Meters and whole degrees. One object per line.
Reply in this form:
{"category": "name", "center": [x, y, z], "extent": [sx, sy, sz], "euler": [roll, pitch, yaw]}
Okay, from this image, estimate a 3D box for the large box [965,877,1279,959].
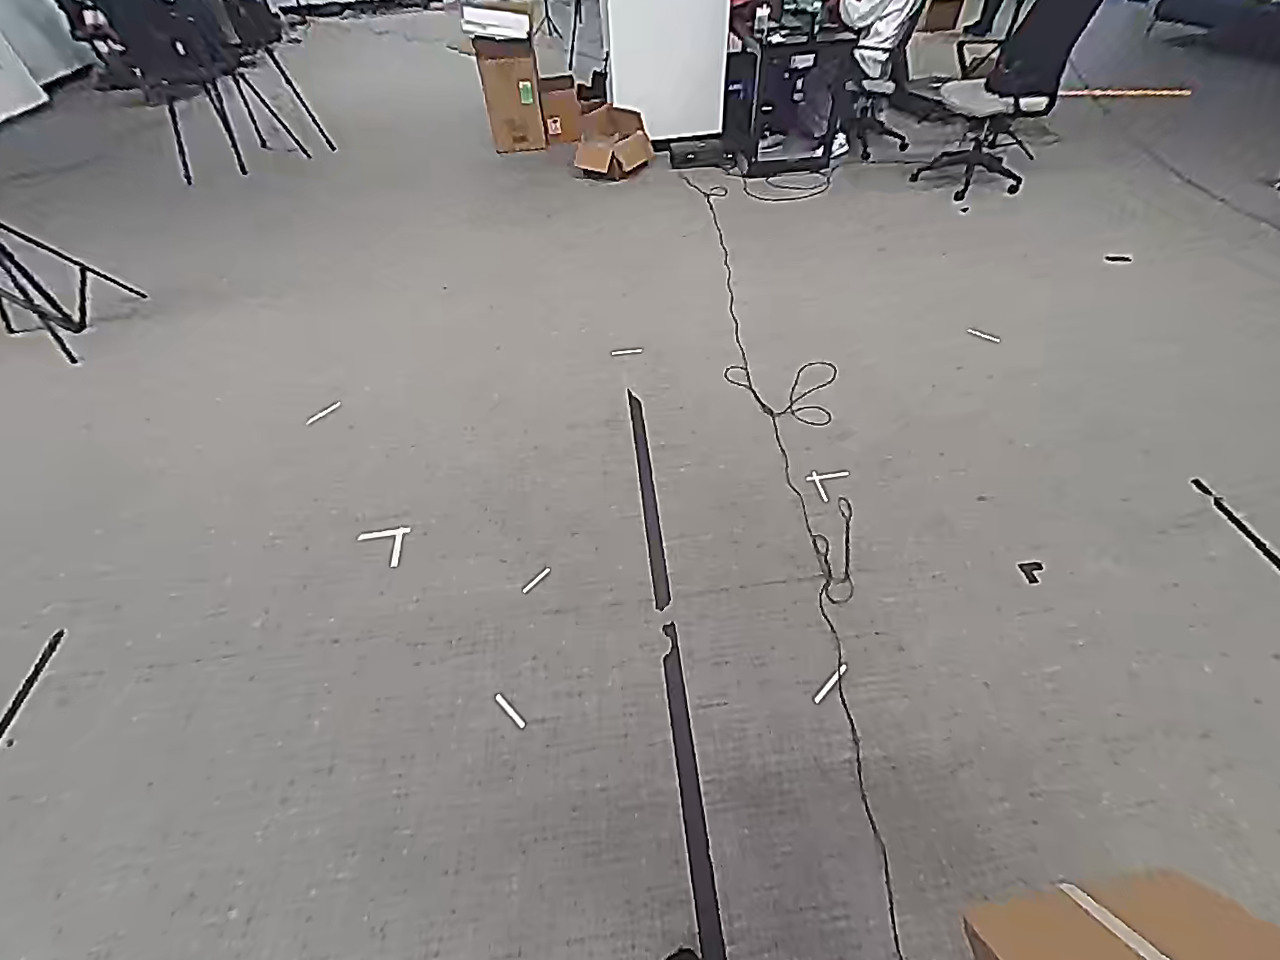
{"category": "large box", "center": [0.630, 0.706, 0.557], "extent": [0.320, 0.408, 0.320], "euler": [-13, 79, 2]}
